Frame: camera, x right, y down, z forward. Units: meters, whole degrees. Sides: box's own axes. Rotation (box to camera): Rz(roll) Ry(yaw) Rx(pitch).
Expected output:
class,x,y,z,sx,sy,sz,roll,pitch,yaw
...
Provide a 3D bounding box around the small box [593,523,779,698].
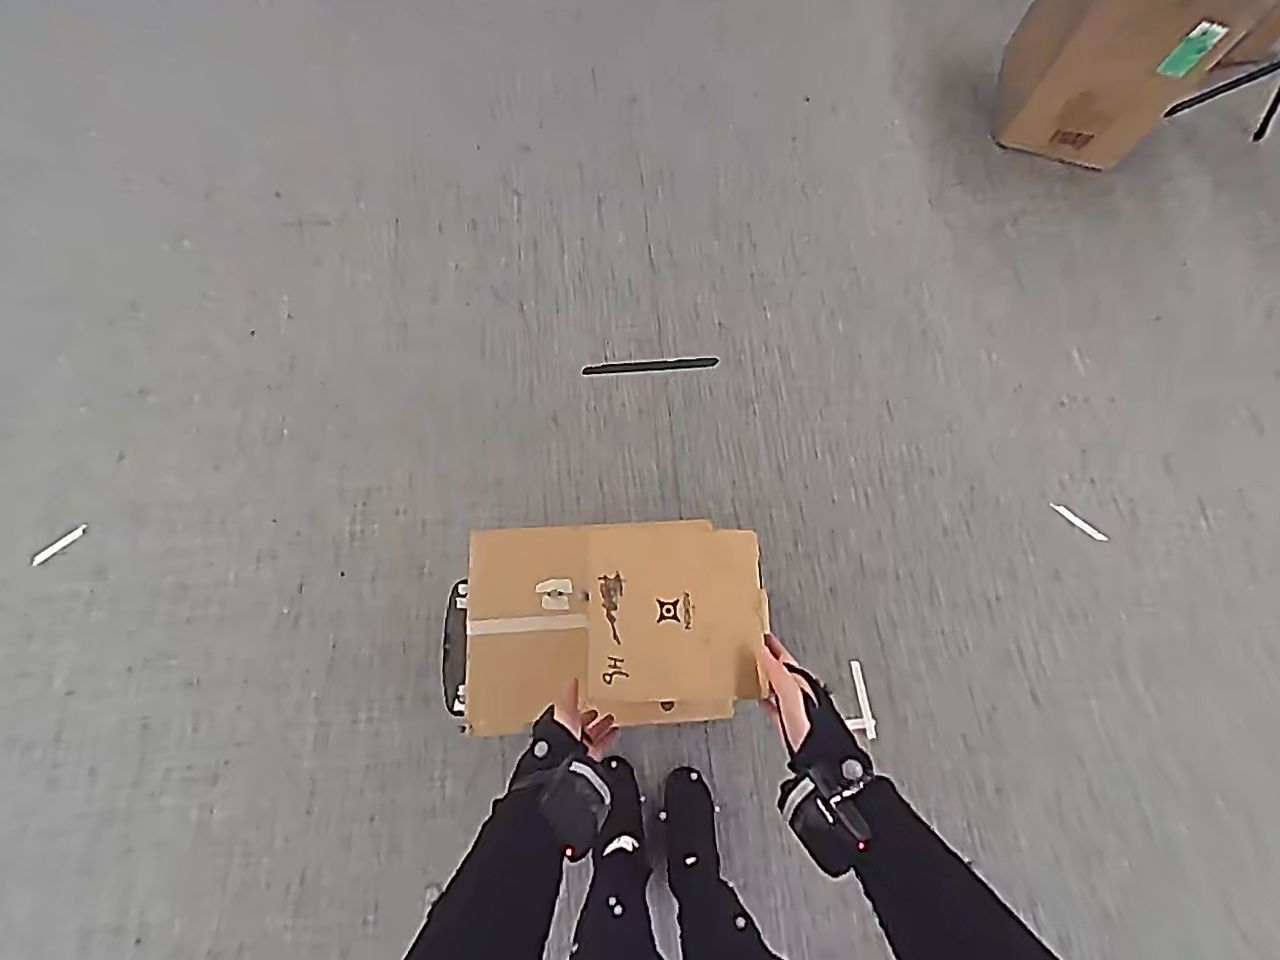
class,x,y,z,sx,sy,sz,roll,pitch,yaw
small box,0.038,0.148,0.599,0.179,0.176,0.168,0,71,-3

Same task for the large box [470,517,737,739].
class,x,y,z,sx,sy,sz,roll,pitch,yaw
large box,-0.064,0.266,0.986,0.408,0.320,0.320,-3,71,-3
